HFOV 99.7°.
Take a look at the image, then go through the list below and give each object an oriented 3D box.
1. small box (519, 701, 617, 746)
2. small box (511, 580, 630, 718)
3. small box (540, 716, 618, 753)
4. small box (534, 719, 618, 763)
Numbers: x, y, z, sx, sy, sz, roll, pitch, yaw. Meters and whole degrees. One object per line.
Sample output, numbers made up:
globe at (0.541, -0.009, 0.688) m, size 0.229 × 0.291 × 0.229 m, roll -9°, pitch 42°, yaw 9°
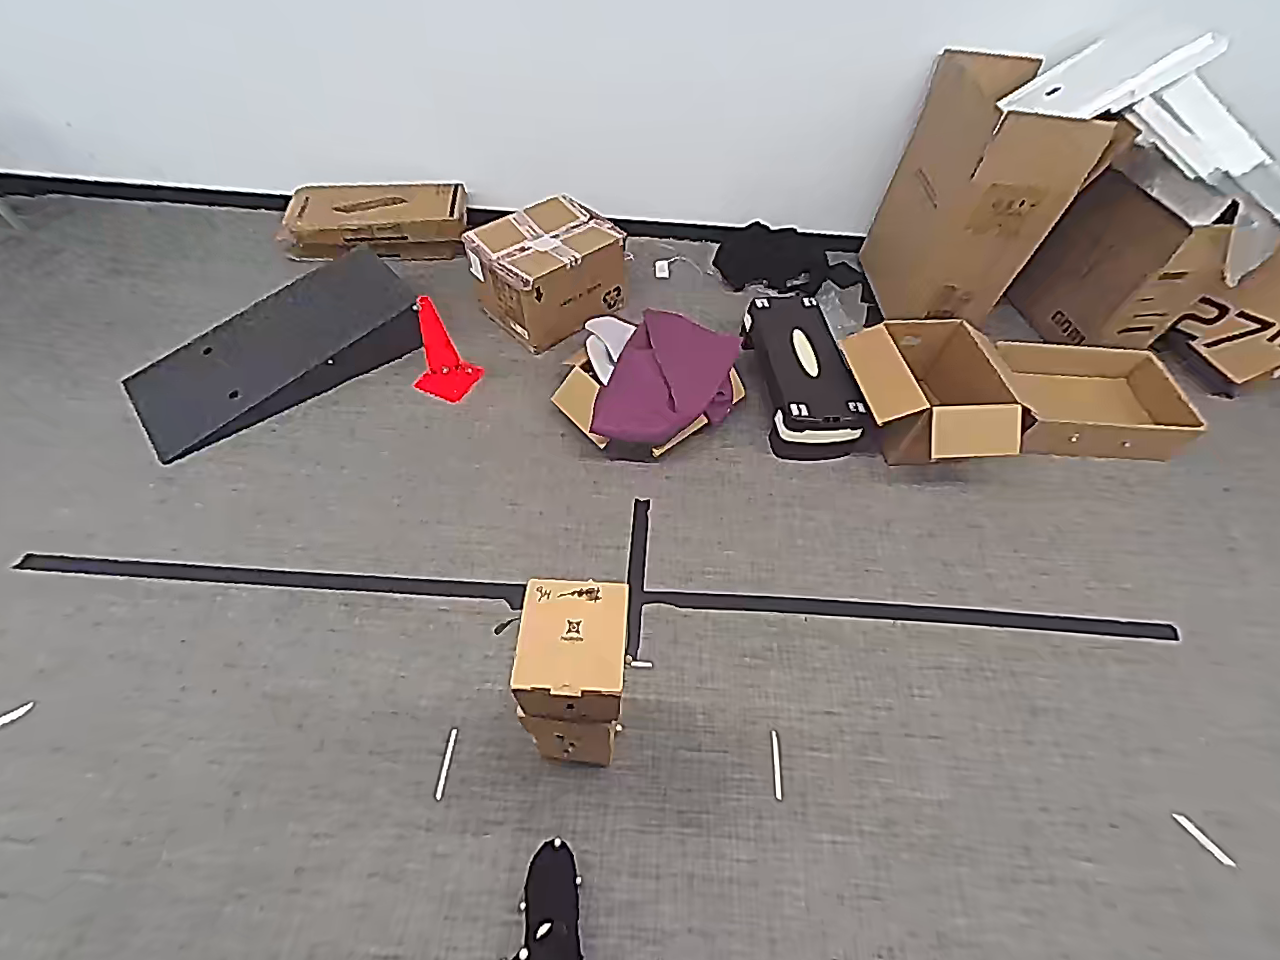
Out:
small box at (-0.119, 0.385, 1.020) m, size 0.168 × 0.176 × 0.179 m, roll 7°, pitch 56°, yaw 2°
small box at (-0.104, 0.284, 0.892) m, size 0.168 × 0.176 × 0.179 m, roll 4°, pitch 55°, yaw 0°
small box at (-0.127, 0.469, 1.161) m, size 0.168 × 0.176 × 0.179 m, roll 7°, pitch 55°, yaw 2°
small box at (-0.142, 0.567, 1.291) m, size 0.179 × 0.176 × 0.168 m, roll 7°, pitch 55°, yaw 1°
